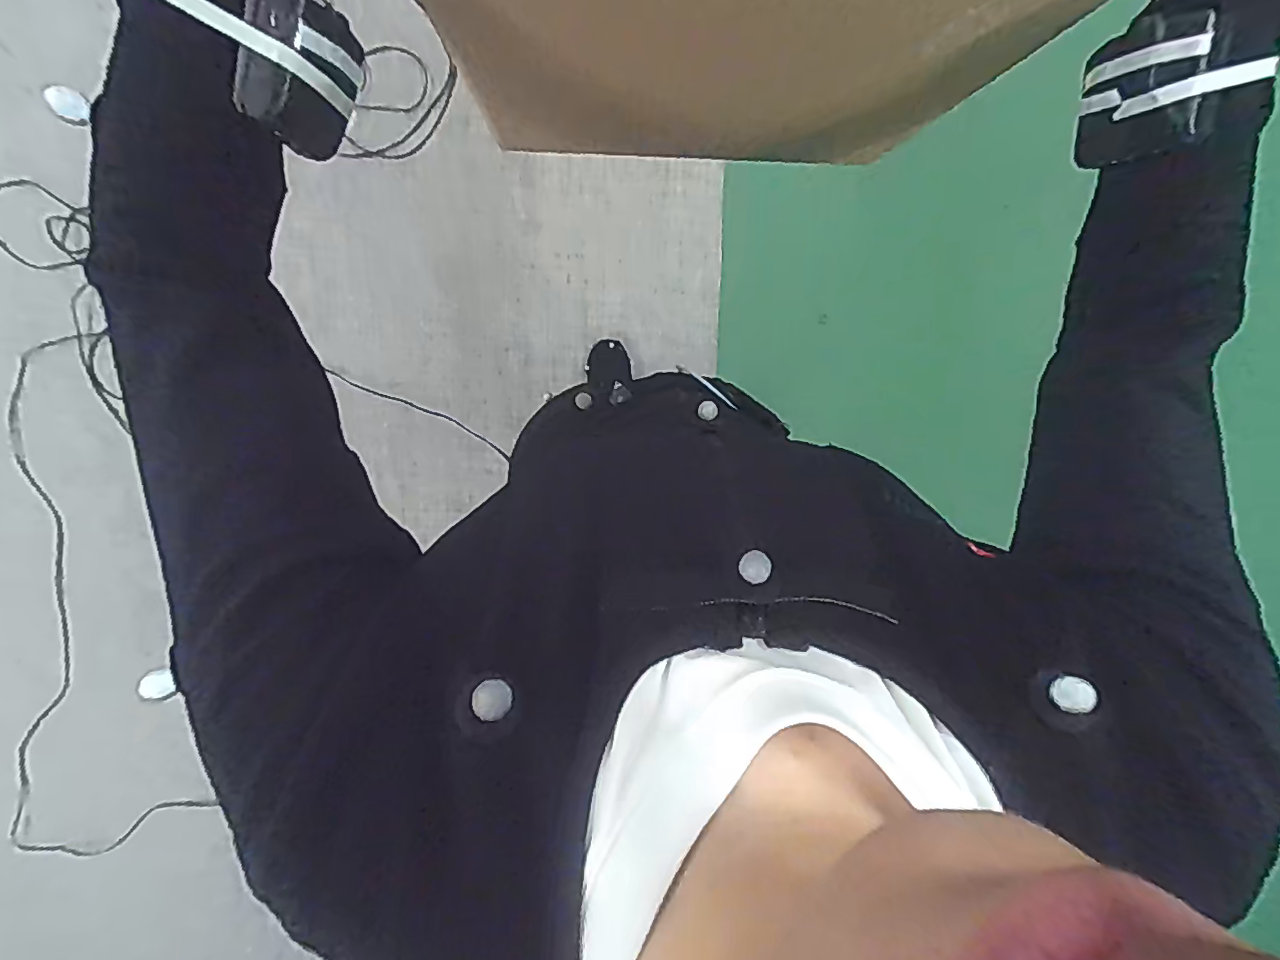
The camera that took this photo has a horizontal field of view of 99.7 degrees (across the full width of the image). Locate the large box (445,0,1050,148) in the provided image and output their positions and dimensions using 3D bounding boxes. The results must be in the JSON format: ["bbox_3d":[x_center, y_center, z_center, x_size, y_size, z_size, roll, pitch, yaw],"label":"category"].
[{"bbox_3d":[0.062,-0.471,0.397,0.408,0.320,0.320,-1,104,-5],"label":"large box"}]
